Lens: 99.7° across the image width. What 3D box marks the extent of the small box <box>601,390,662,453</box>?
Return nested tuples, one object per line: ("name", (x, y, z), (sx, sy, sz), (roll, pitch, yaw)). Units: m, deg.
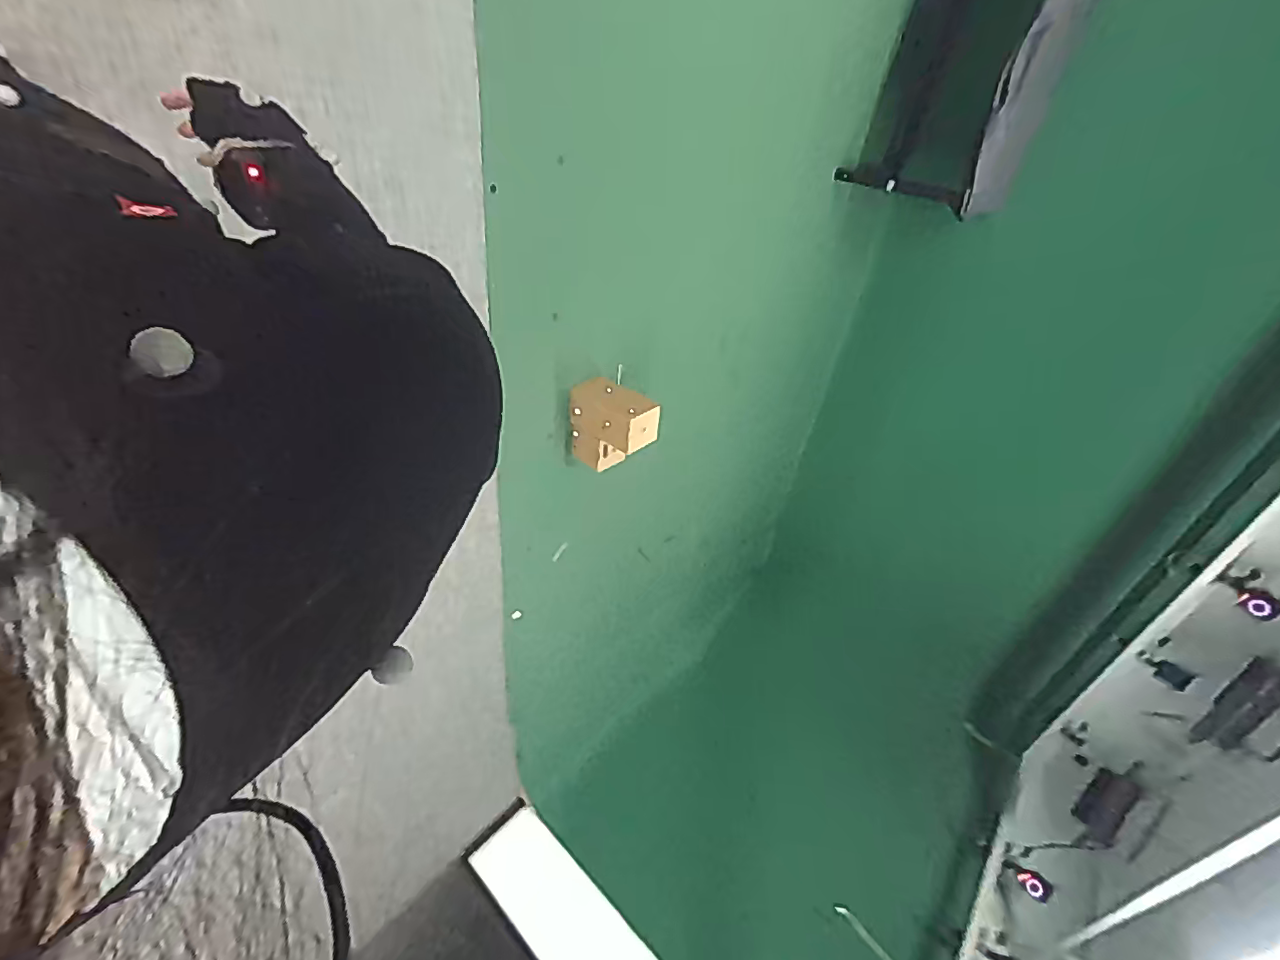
("small box", (-0.037, -0.240, 2.168), (0.179, 0.176, 0.168), (-31, 140, -37))
